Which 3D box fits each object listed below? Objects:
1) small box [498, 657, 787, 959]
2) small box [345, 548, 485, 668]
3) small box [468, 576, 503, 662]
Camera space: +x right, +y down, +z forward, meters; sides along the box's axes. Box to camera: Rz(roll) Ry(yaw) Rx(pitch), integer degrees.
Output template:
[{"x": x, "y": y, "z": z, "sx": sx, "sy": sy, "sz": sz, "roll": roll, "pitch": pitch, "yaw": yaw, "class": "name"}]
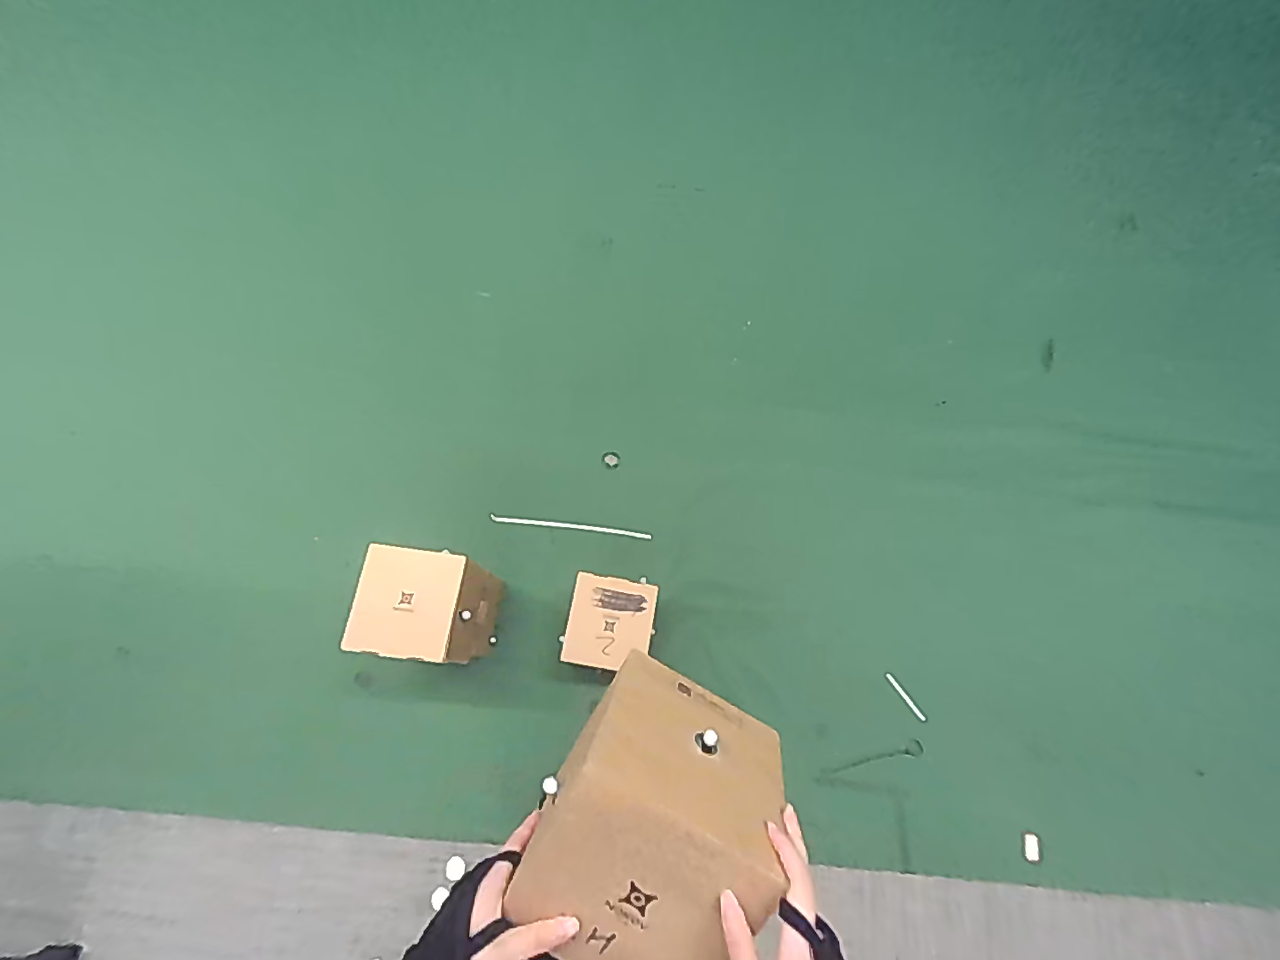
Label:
[{"x": 0.008, "y": 0.295, "z": 0.482, "sx": 0.168, "sy": 0.176, "sz": 0.179, "roll": 30, "pitch": 105, "yaw": 5, "class": "small box"}, {"x": -0.385, "y": 0.232, "z": 0.964, "sx": 0.168, "sy": 0.176, "sz": 0.179, "roll": 8, "pitch": 73, "yaw": -1, "class": "small box"}, {"x": -0.395, "y": 0.279, "z": 1.120, "sx": 0.179, "sy": 0.176, "sz": 0.168, "roll": 8, "pitch": 72, "yaw": 0, "class": "small box"}]
